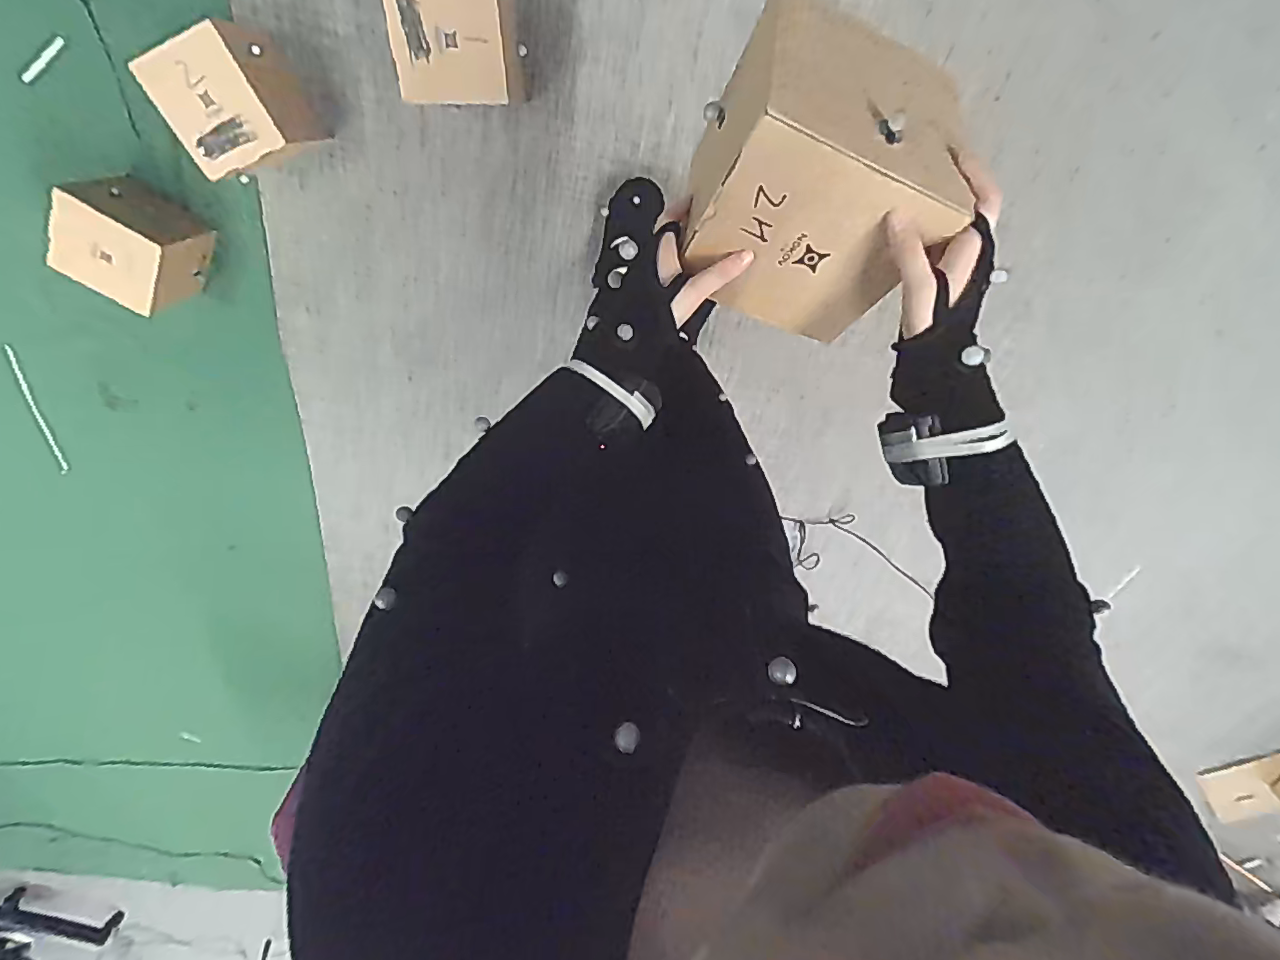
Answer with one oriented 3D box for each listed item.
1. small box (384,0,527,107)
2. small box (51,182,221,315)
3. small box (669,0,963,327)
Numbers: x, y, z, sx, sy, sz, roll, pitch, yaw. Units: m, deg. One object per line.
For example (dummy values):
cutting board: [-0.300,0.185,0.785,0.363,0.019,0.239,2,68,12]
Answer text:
small box: [-0.295,-0.722,0.896,0.179,0.176,0.168,0,125,-1]
small box: [-0.995,-0.467,1.078,0.179,0.176,0.168,31,120,-20]
small box: [0.145,-0.273,0.476,0.179,0.176,0.168,17,154,-13]
